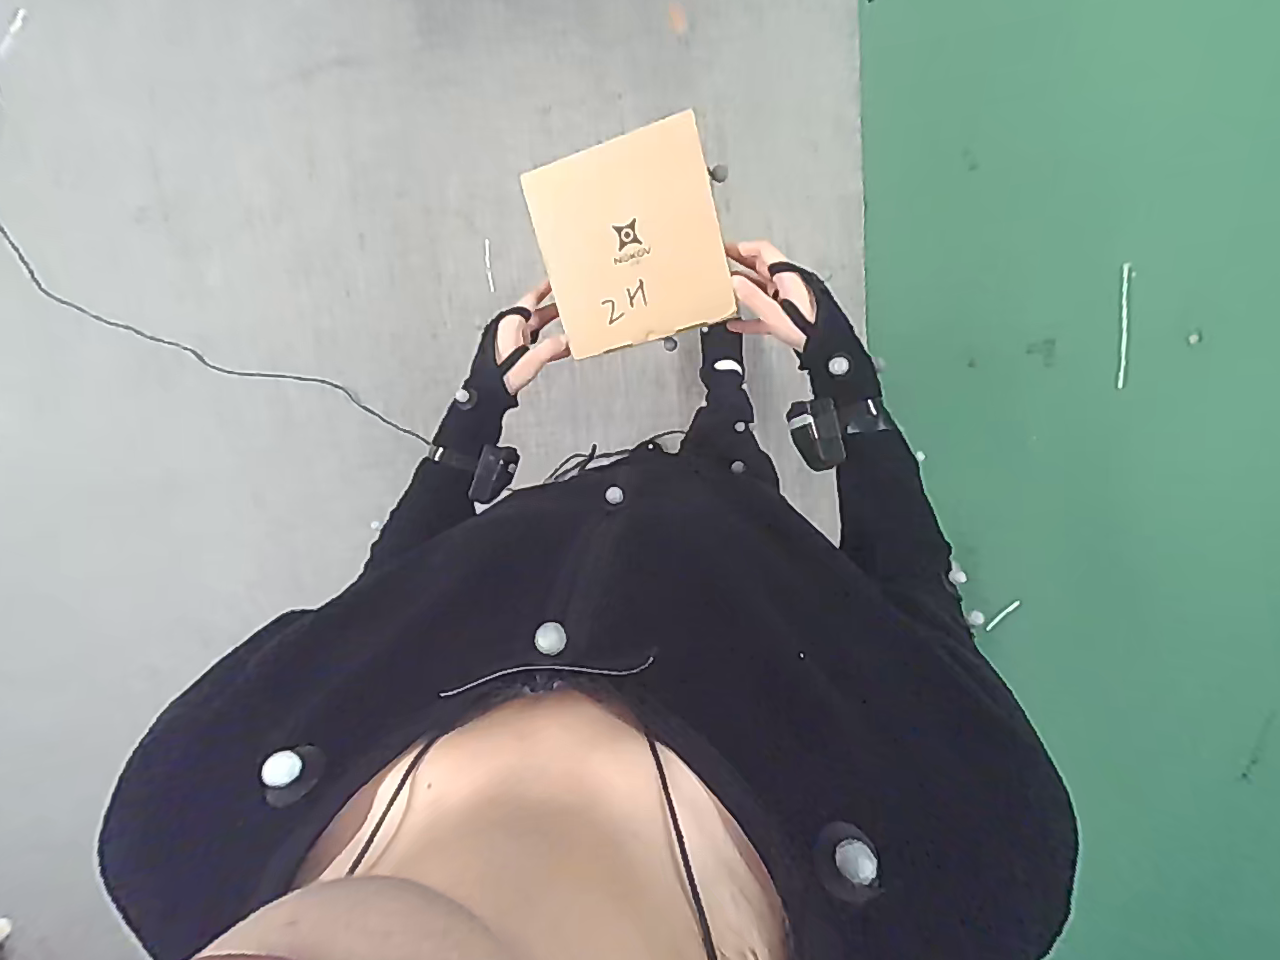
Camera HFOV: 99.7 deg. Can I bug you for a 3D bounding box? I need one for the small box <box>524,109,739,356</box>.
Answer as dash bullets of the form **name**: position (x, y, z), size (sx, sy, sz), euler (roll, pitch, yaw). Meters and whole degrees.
- **small box**: position (0.005, -0.238, 0.567), size (0.168, 0.176, 0.179), euler (-12, 104, 14)
